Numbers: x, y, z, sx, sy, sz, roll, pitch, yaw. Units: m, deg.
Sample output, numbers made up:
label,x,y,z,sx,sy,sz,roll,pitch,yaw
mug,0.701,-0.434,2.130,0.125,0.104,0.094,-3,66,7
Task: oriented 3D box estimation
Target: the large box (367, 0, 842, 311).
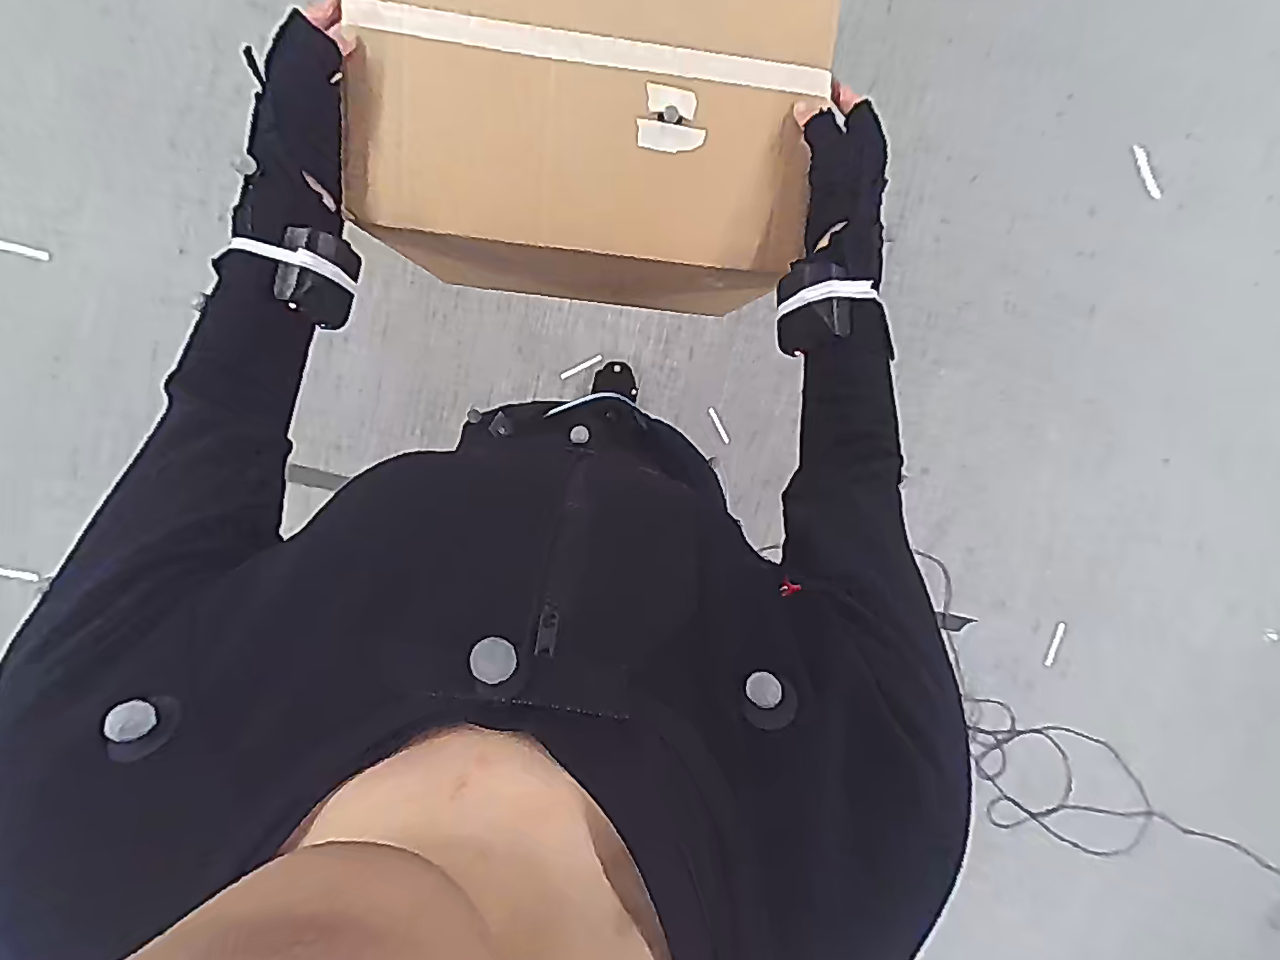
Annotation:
label,x,y,z,sx,sy,sz,roll,pitch,yaw
large box,-0.042,-0.388,0.611,0.408,0.320,0.320,5,100,-6
